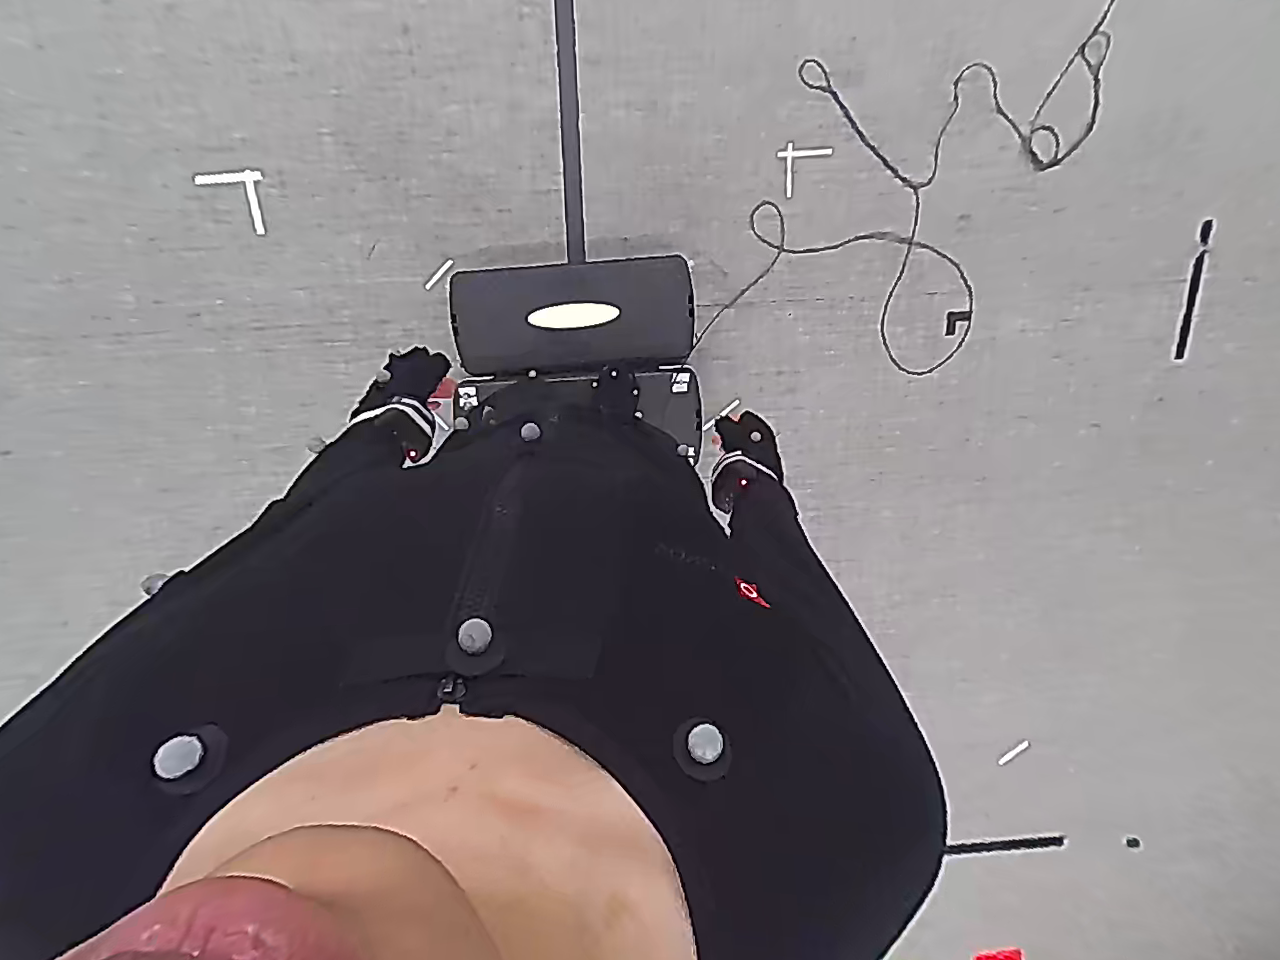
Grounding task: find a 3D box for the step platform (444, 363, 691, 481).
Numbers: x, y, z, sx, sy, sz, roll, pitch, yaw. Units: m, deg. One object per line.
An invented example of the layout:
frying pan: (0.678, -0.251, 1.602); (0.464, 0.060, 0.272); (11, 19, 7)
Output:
step platform: (-0.196, -0.166, 1.539); (0.684, 0.204, 0.286); (-4, 103, -1)
